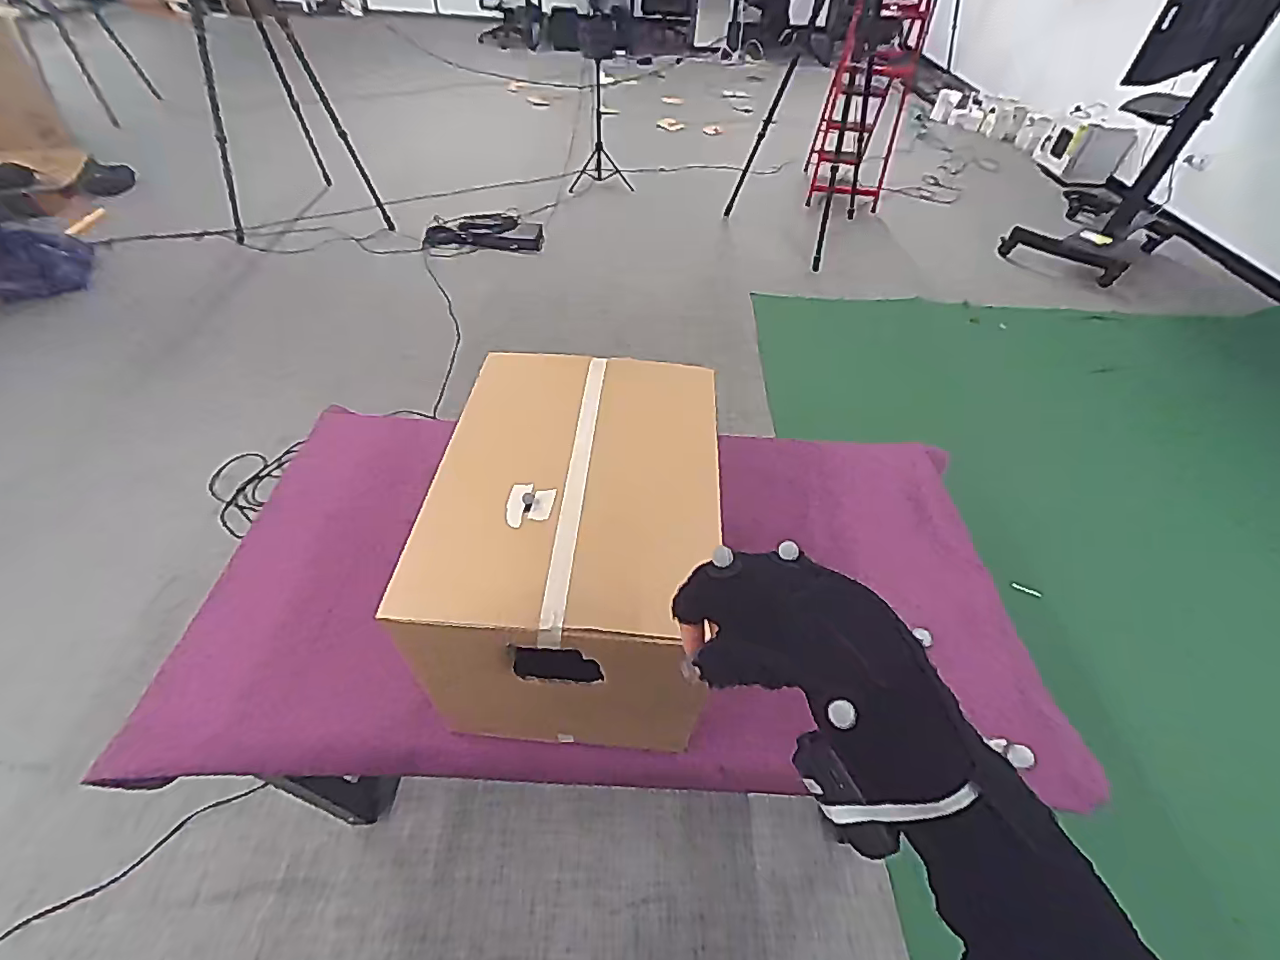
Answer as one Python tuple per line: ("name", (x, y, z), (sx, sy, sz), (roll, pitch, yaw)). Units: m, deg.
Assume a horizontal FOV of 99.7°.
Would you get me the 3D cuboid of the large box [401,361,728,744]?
("large box", (-0.070, 0.093, 0.737), (0.320, 0.320, 0.408), (5, 49, 1))
